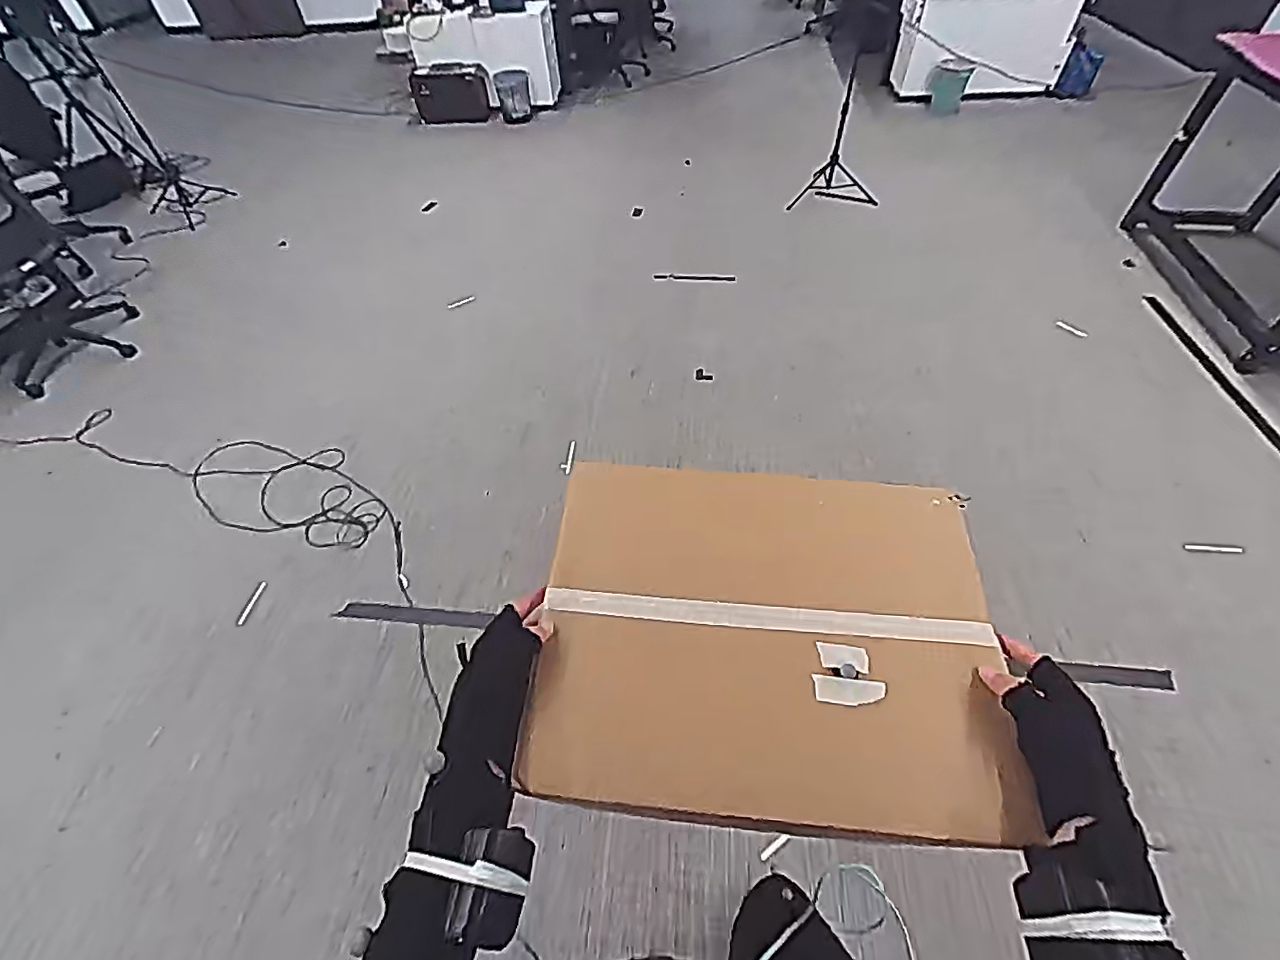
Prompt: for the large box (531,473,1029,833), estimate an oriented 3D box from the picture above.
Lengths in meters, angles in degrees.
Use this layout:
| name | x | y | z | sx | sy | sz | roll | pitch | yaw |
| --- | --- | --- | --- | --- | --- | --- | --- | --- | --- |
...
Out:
| name | x | y | z | sx | sy | sz | roll | pitch | yaw |
| --- | --- | --- | --- | --- | --- | --- | --- | --- | --- |
| large box | 0.119 | 0.212 | 0.634 | 0.408 | 0.320 | 0.320 | 4 | 57 | 4 |
